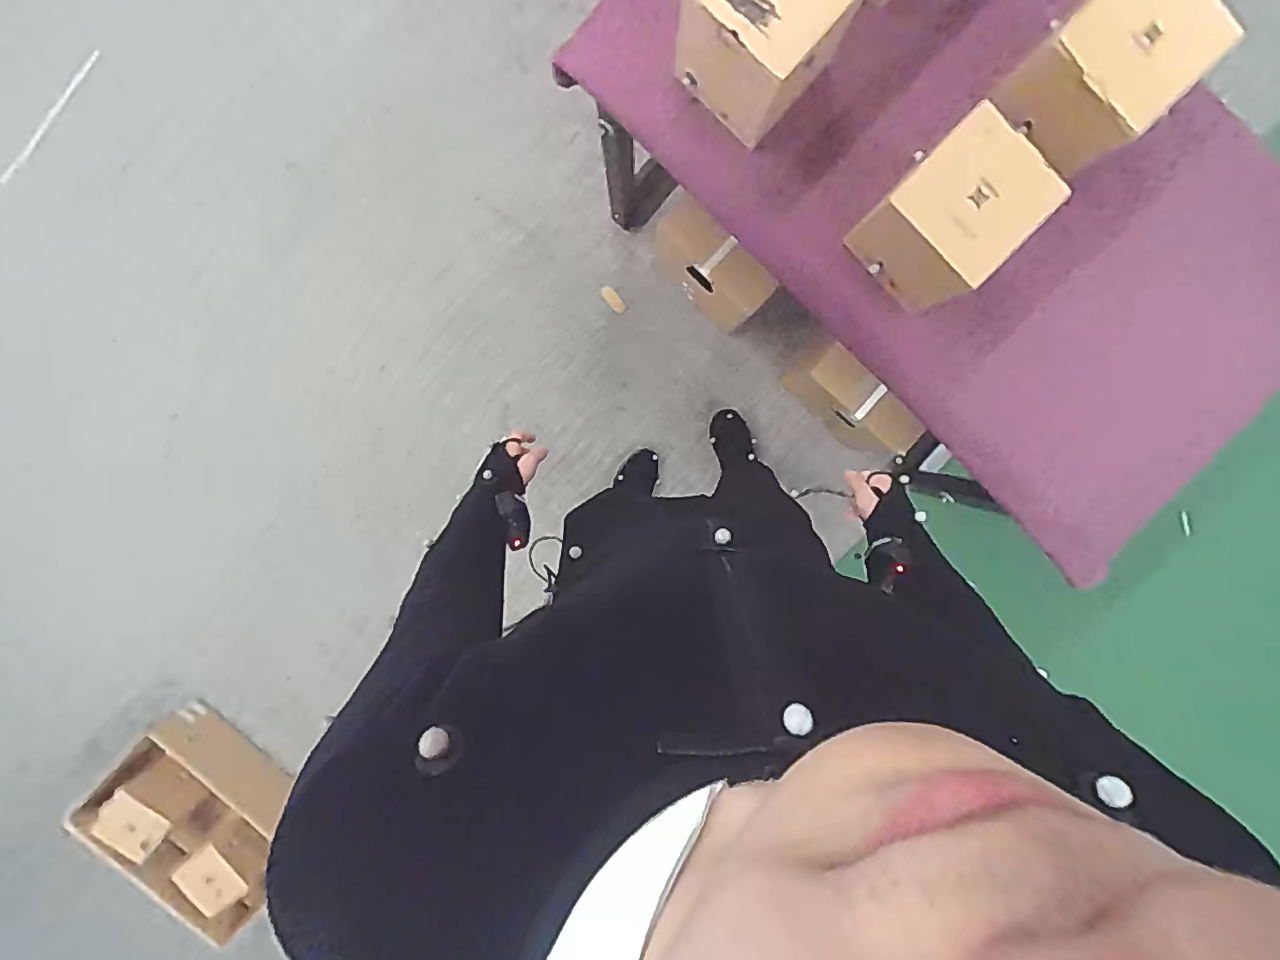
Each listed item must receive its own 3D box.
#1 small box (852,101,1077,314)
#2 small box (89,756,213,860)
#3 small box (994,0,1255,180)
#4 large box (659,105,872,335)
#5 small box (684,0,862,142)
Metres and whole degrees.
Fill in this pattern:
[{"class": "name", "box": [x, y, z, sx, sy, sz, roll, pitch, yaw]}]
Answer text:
[{"class": "small box", "box": [0.437, -0.365, 0.761, 0.179, 0.176, 0.168, -45, 93, 4]}, {"class": "small box", "box": [-1.443, 0.960, 1.606, 0.179, 0.176, 0.168, 40, 94, -4]}, {"class": "small box", "box": [0.637, -0.552, 0.740, 0.179, 0.176, 0.168, -44, 95, 6]}, {"class": "large box", "box": [0.293, -0.647, 1.396, 0.320, 0.320, 0.408, 43, 94, -5]}, {"class": "small box", "box": [0.174, -0.613, 0.733, 0.168, 0.176, 0.179, 42, 93, -5]}]
